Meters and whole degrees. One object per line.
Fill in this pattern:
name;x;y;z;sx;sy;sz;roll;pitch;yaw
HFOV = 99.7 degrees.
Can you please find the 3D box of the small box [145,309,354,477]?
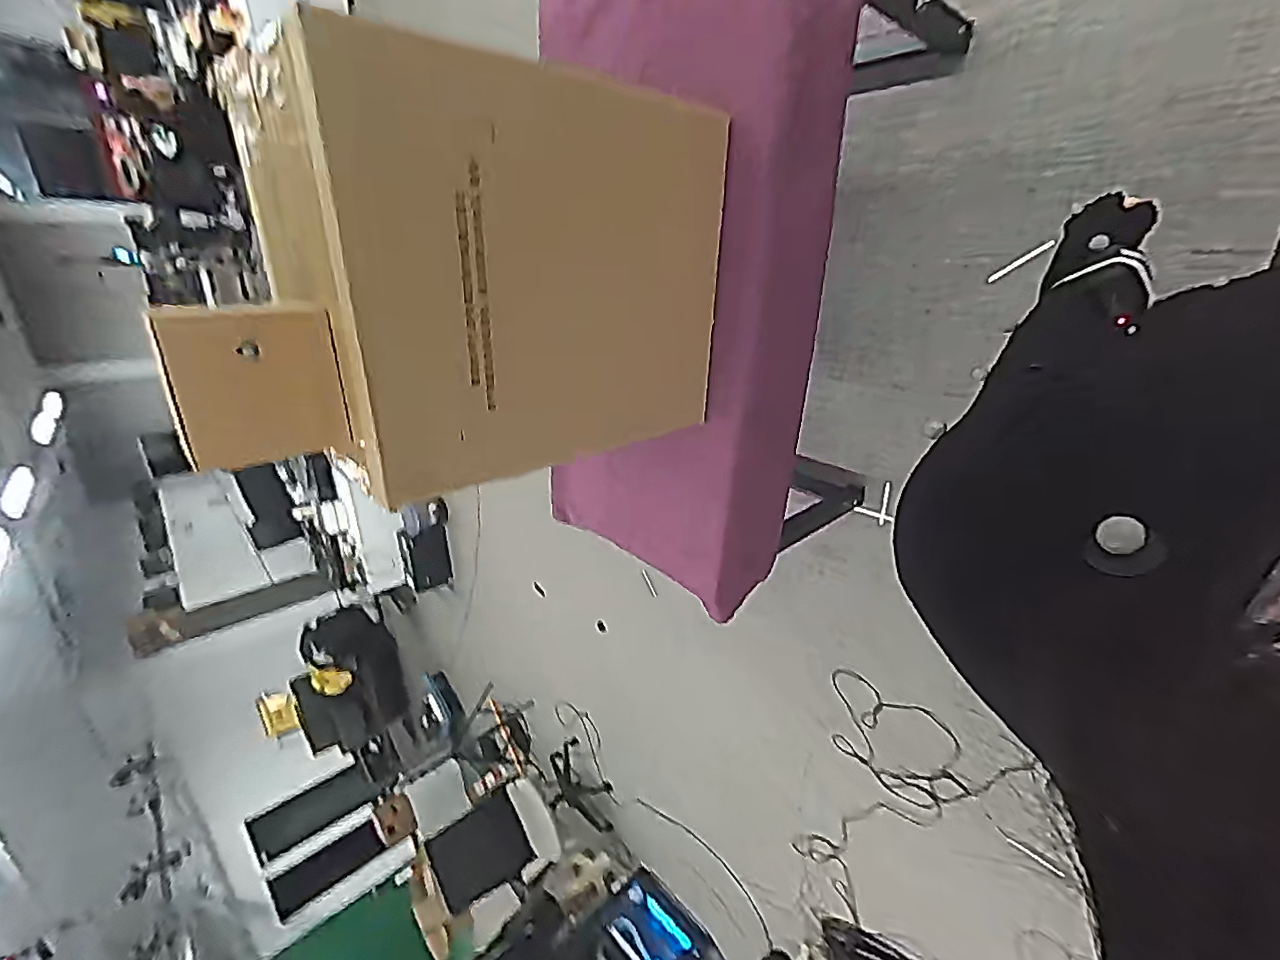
small box;-0.490;-0.123;0.689;0.168;0.176;0.179;20;120;45
